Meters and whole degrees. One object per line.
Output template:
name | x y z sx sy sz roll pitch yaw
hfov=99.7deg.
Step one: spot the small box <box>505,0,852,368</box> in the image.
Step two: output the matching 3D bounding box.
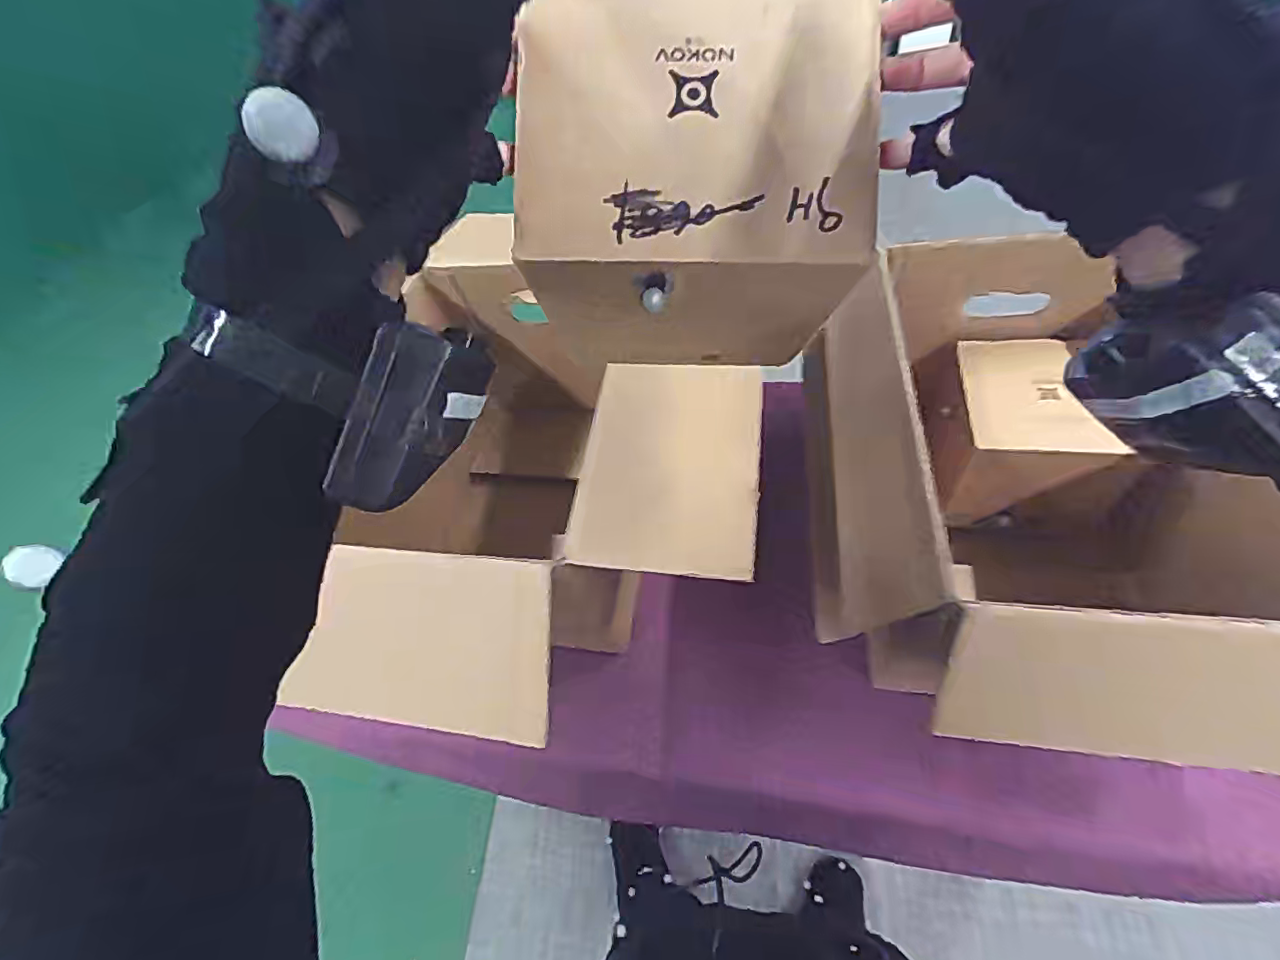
small box | 0.022 -0.181 0.341 0.168 0.176 0.179 1 86 3
